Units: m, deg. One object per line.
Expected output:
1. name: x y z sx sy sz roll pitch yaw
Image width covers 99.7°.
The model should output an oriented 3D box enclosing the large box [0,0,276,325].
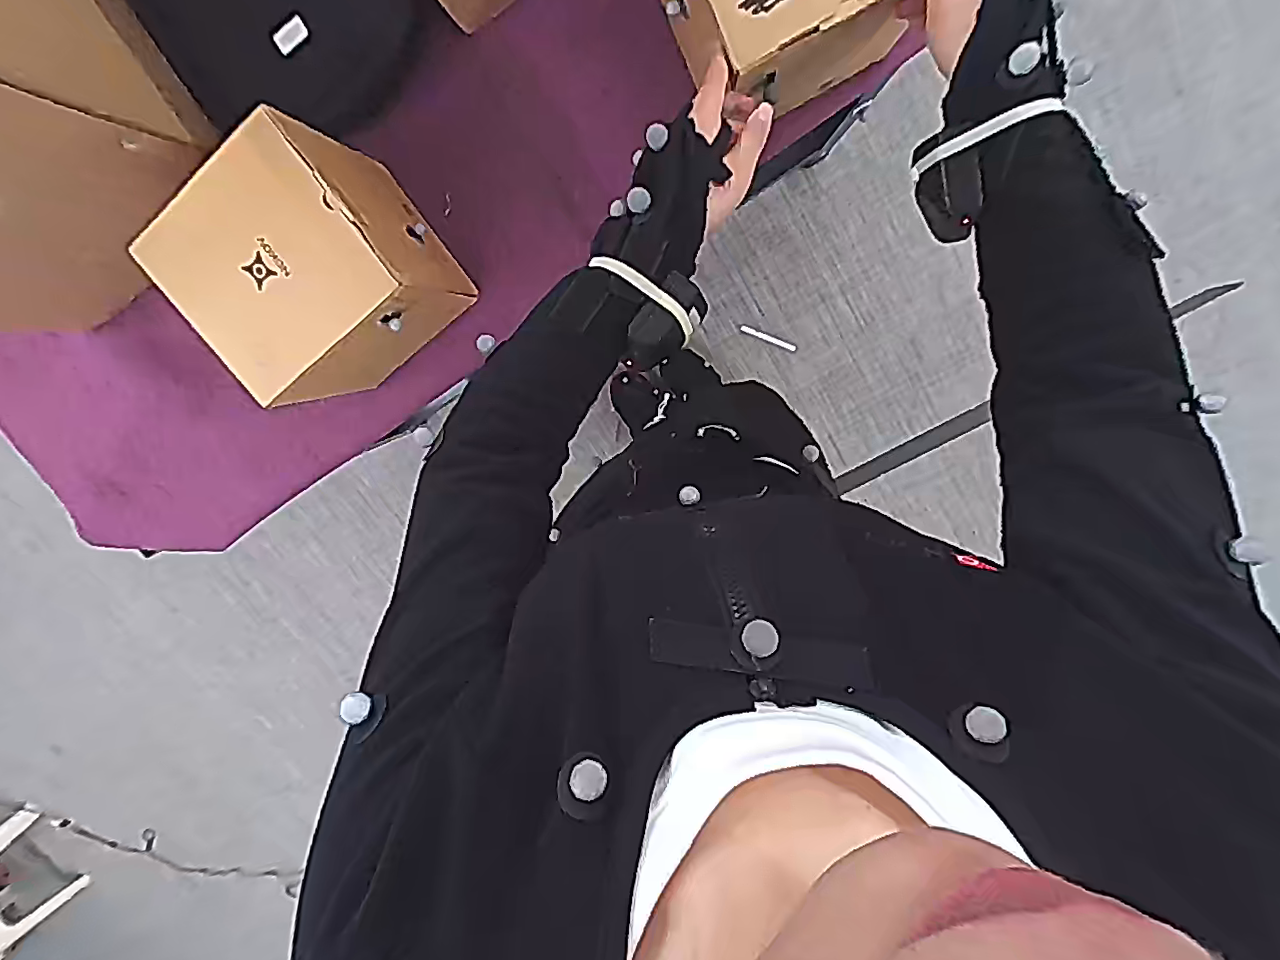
1. large box: -0.628 -0.376 0.429 0.320 0.320 0.408 -31 105 13
